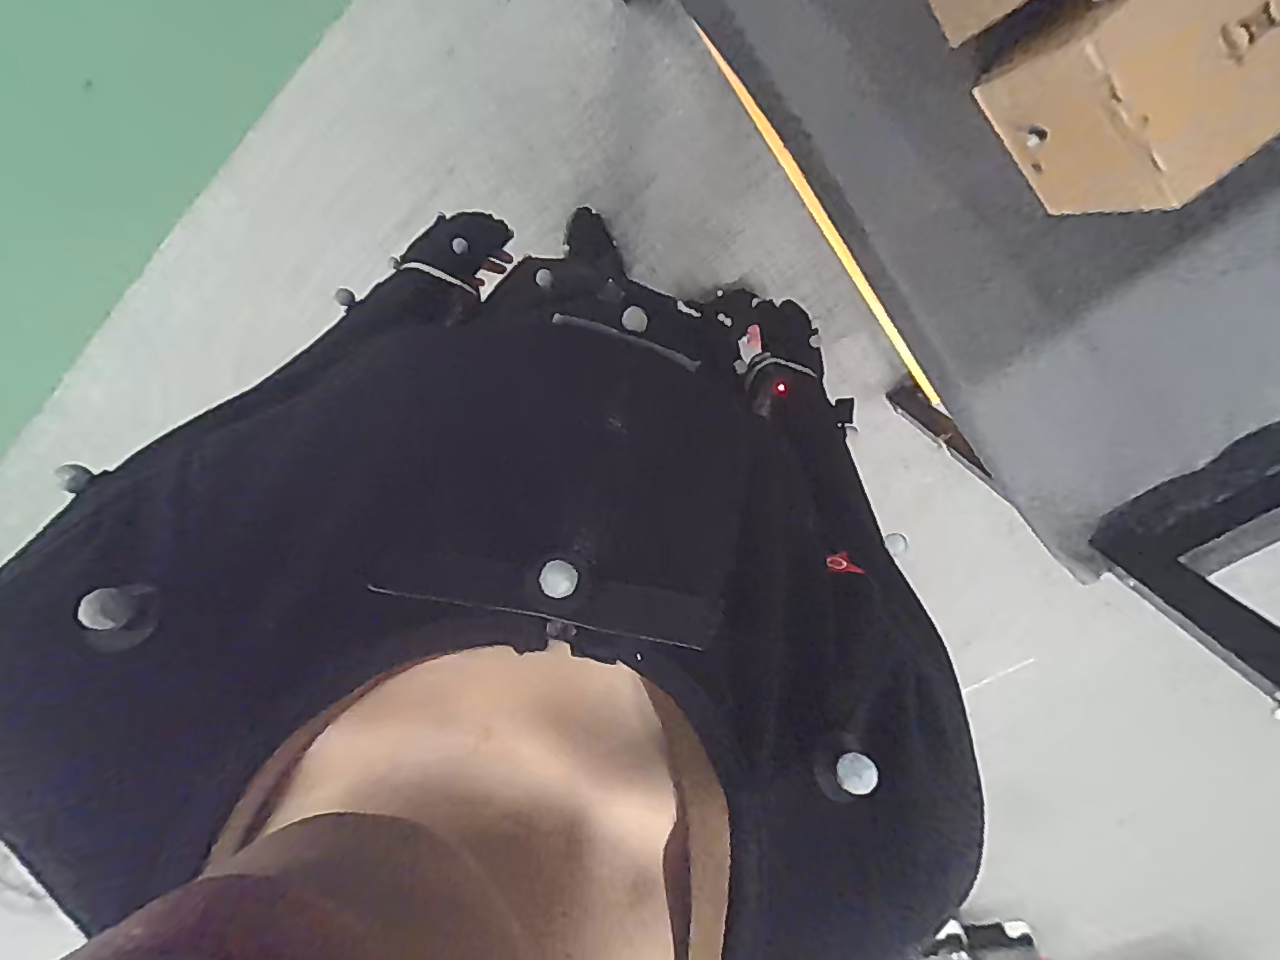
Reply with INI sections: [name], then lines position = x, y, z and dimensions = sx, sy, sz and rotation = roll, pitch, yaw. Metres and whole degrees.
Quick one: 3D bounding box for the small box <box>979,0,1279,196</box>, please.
[small box]
position = 0.457, -0.384, 0.481
dimensions = 0.168, 0.176, 0.179
rotation = 42, 111, -16
